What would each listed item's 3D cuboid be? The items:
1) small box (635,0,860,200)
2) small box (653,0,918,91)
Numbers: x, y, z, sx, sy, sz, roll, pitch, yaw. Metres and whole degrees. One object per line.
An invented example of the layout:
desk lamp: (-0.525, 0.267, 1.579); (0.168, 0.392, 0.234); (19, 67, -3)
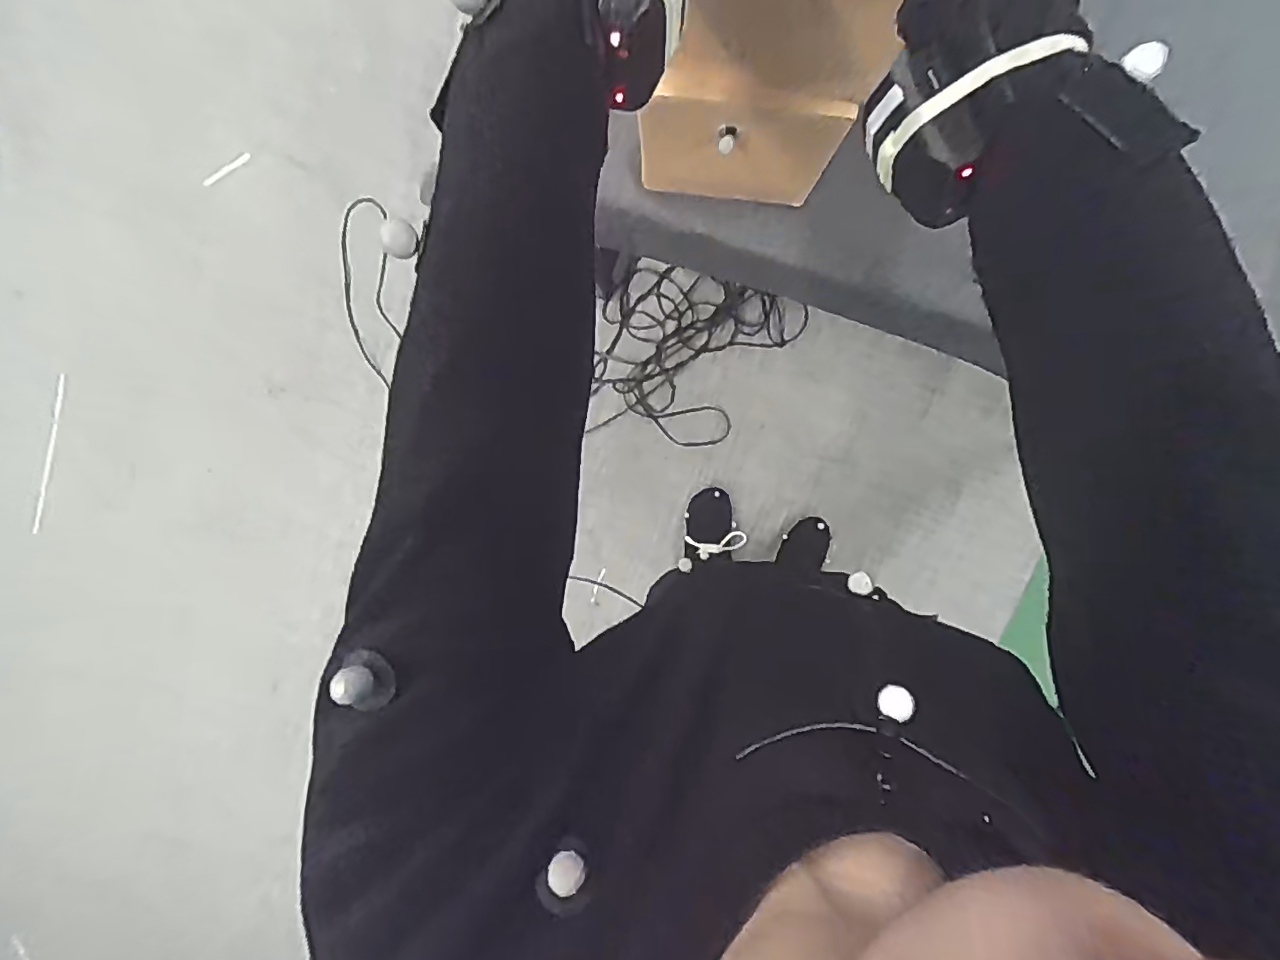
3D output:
small box: (0.098, -0.379, 0.493); (0.179, 0.176, 0.168); (9, 96, 3)
small box: (0.105, -0.381, 0.331); (0.179, 0.176, 0.168); (13, 97, 1)
